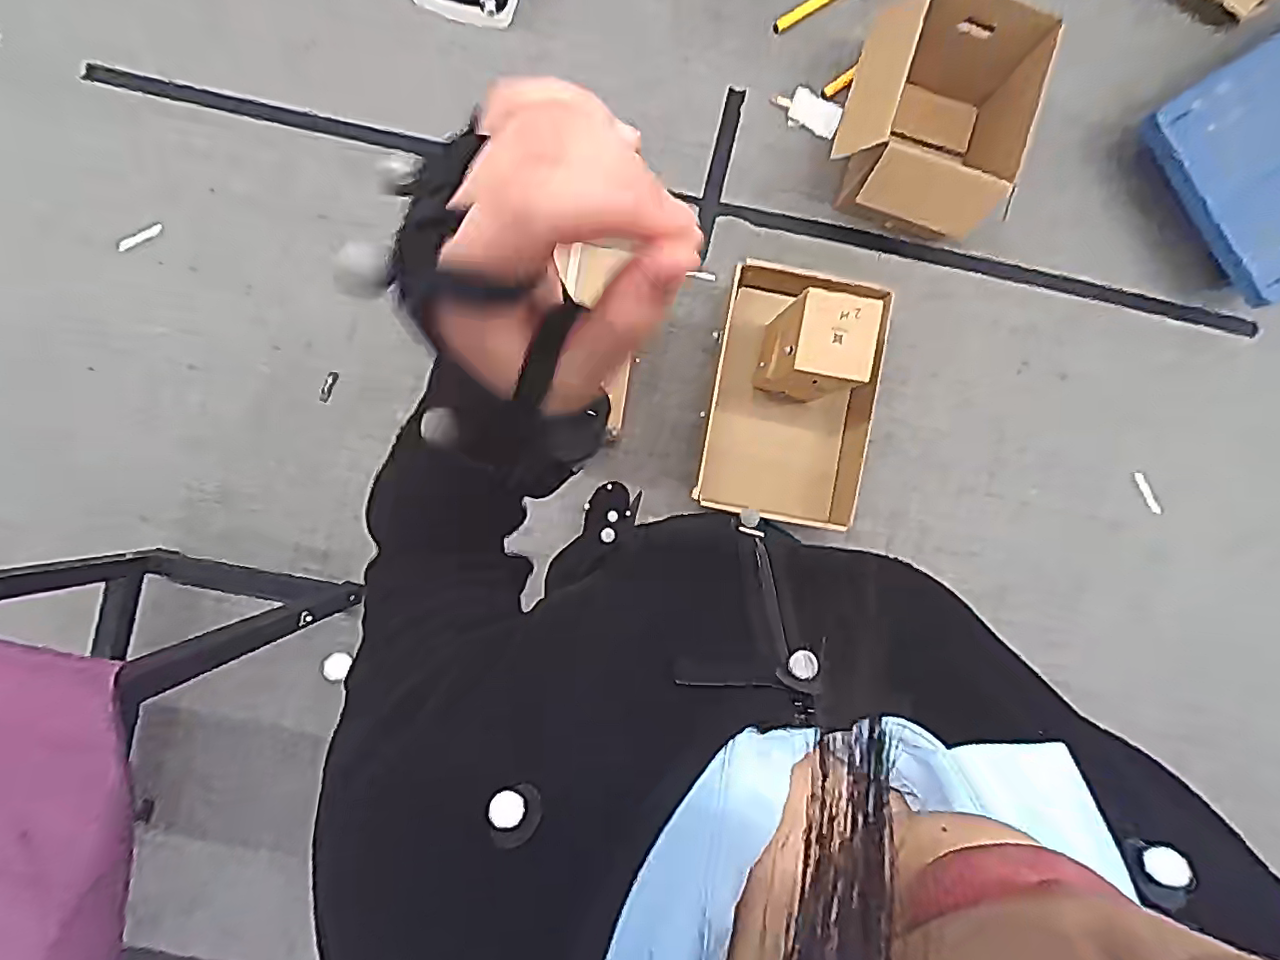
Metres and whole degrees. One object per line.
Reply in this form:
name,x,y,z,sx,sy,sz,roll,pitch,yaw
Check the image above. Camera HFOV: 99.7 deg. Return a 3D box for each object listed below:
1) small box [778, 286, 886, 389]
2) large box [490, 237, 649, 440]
small box,0.420,-0.308,1.212,0.168,0.176,0.179,10,91,-2
large box,-0.160,-0.326,1.347,0.320,0.320,0.408,8,91,0
